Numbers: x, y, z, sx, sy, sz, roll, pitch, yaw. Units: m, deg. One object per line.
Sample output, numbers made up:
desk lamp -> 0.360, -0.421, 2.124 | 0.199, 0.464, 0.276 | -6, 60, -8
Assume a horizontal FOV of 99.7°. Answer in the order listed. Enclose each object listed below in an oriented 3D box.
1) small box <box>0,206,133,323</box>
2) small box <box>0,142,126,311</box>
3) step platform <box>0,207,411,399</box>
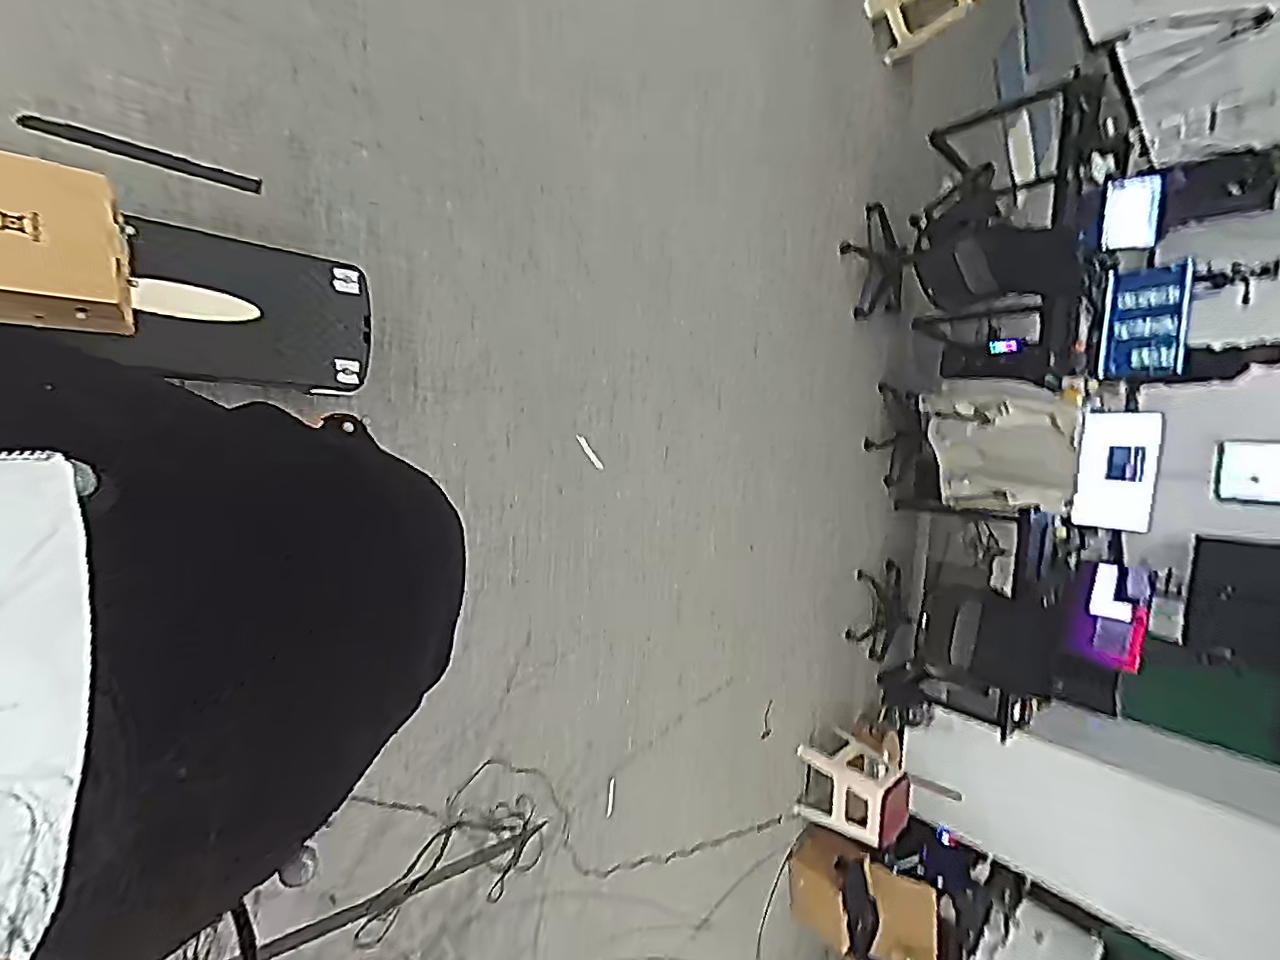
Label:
small box -> -0.912, -0.343, 0.836 | 0.179, 0.176, 0.168 | -3, 98, -41
small box -> -0.804, -0.326, 0.714 | 0.179, 0.176, 0.168 | -5, 97, -41
step platform -> -0.770, -0.306, 0.917 | 0.684, 0.204, 0.286 | -1, 95, -42
